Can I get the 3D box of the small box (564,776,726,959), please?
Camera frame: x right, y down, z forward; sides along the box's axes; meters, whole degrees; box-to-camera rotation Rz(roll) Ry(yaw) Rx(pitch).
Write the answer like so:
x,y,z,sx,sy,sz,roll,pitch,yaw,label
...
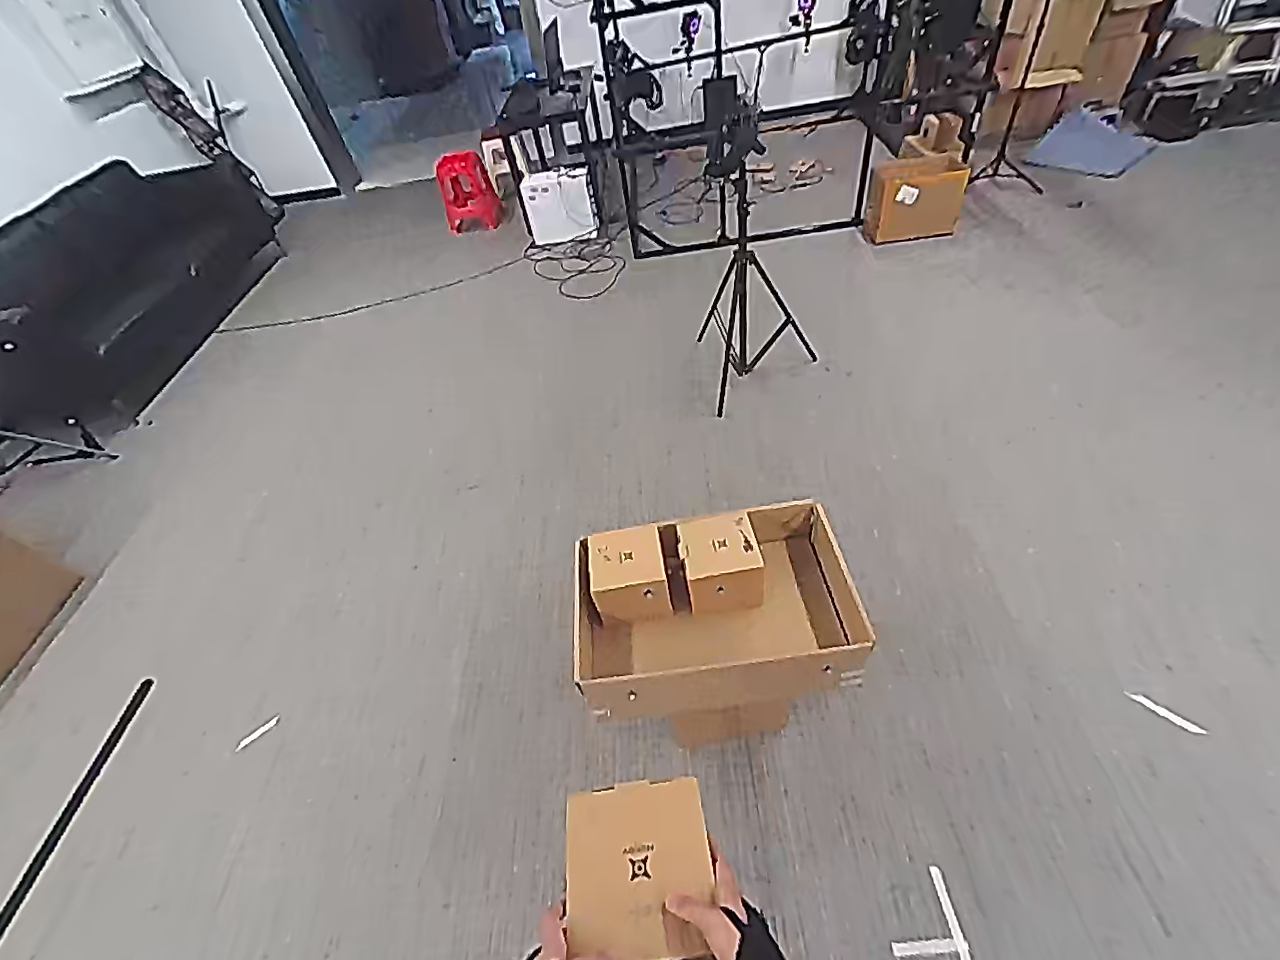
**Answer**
x,y,z,sx,sy,sz,roll,pitch,yaw,label
0.003,0.493,0.653,0.168,0.176,0.179,-6,37,-2,small box
